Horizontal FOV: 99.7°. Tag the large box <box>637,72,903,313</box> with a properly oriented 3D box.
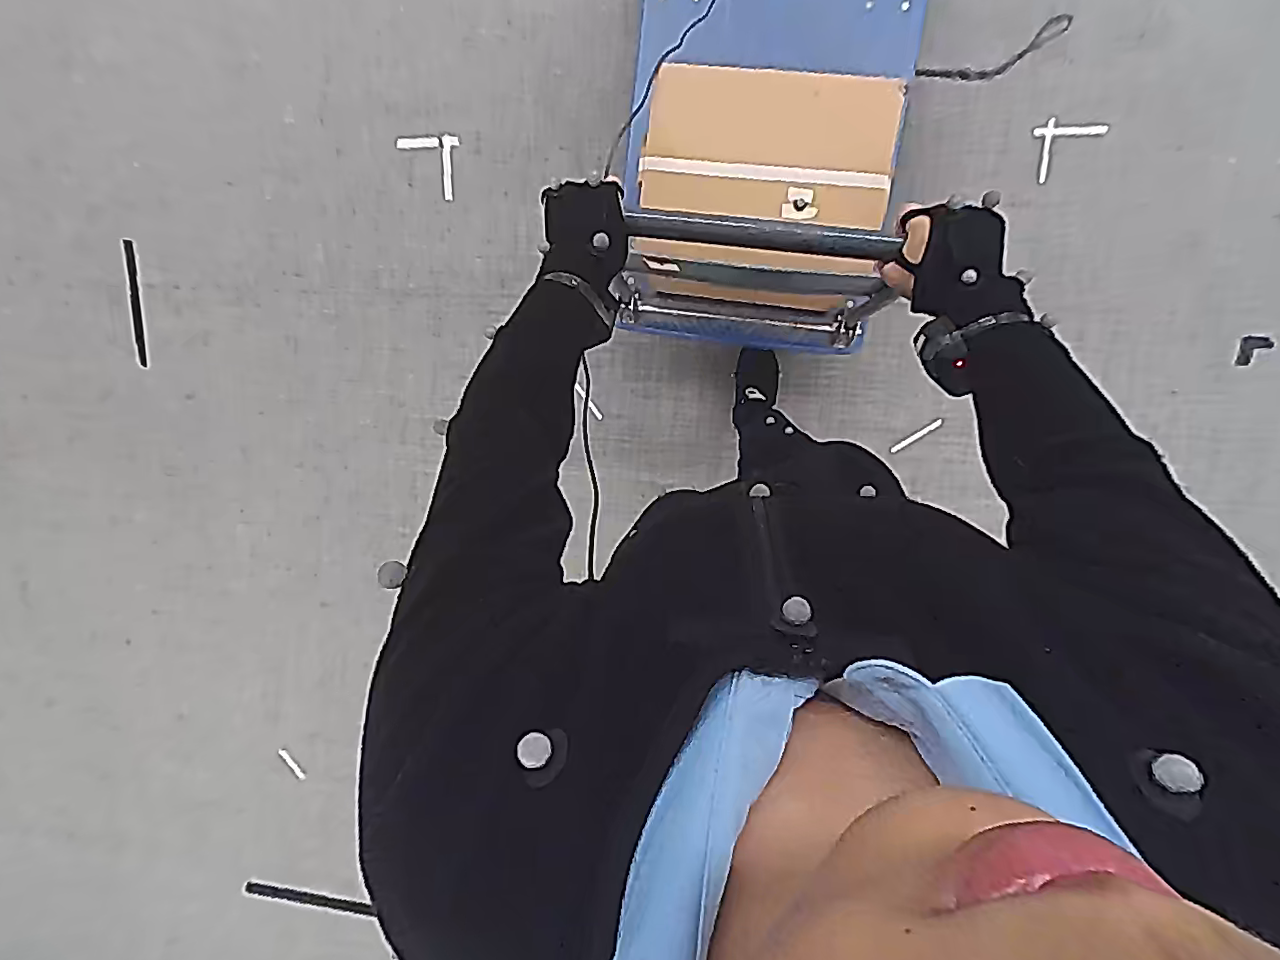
[{"bbox_3d":[0.221,-0.522,1.046,0.408,0.320,0.320,8,100,5],"label":"large box"}]
